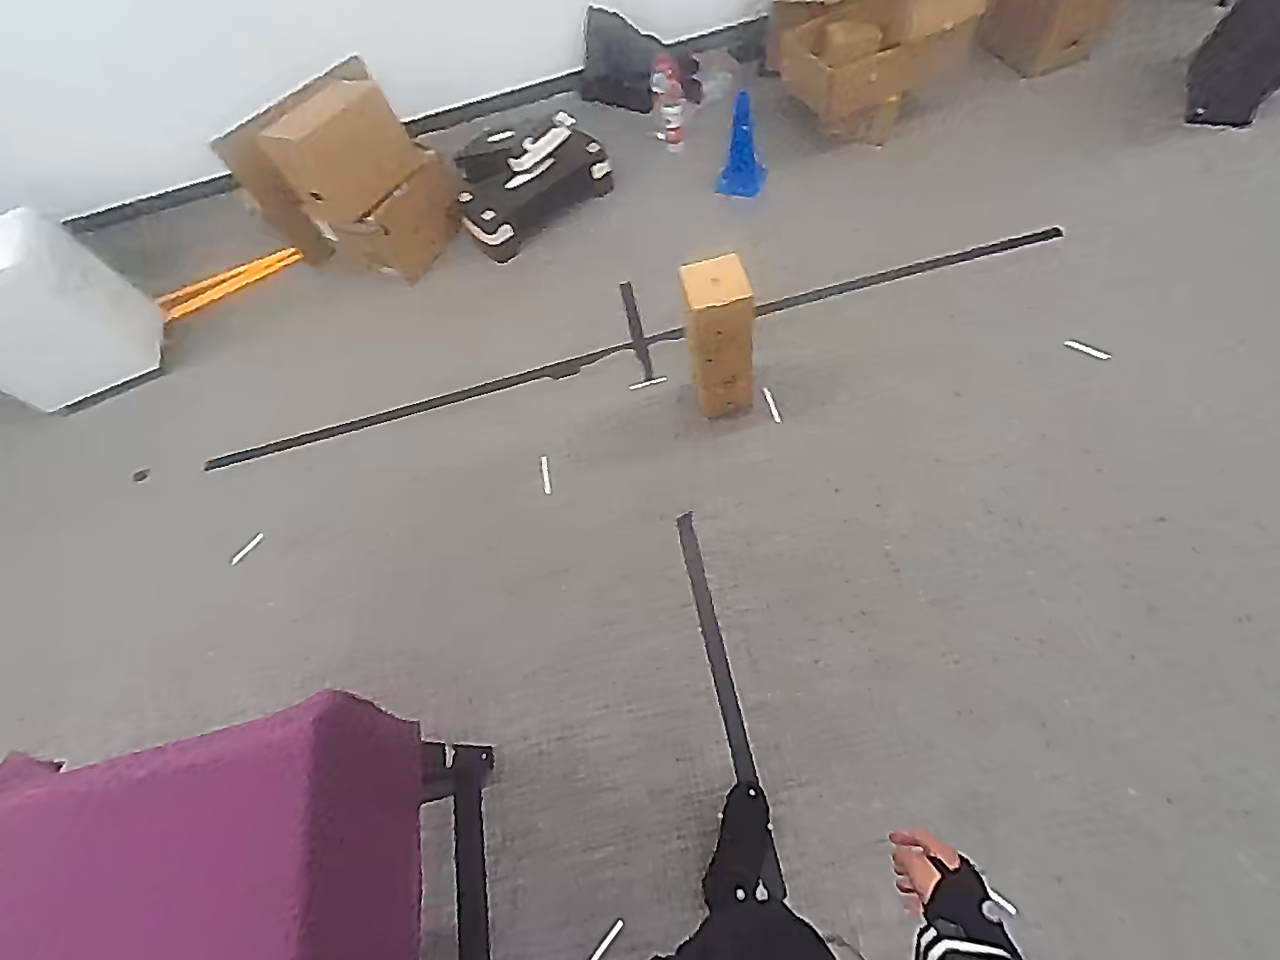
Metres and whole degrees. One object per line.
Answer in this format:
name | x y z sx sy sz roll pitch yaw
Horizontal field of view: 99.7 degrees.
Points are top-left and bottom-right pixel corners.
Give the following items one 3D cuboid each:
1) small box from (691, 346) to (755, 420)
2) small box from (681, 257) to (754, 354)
small box | 0.274 -0.332 1.808 0.168 0.176 0.179 -17 62 1
small box | 0.216 -0.488 1.526 0.168 0.176 0.179 -14 61 2
